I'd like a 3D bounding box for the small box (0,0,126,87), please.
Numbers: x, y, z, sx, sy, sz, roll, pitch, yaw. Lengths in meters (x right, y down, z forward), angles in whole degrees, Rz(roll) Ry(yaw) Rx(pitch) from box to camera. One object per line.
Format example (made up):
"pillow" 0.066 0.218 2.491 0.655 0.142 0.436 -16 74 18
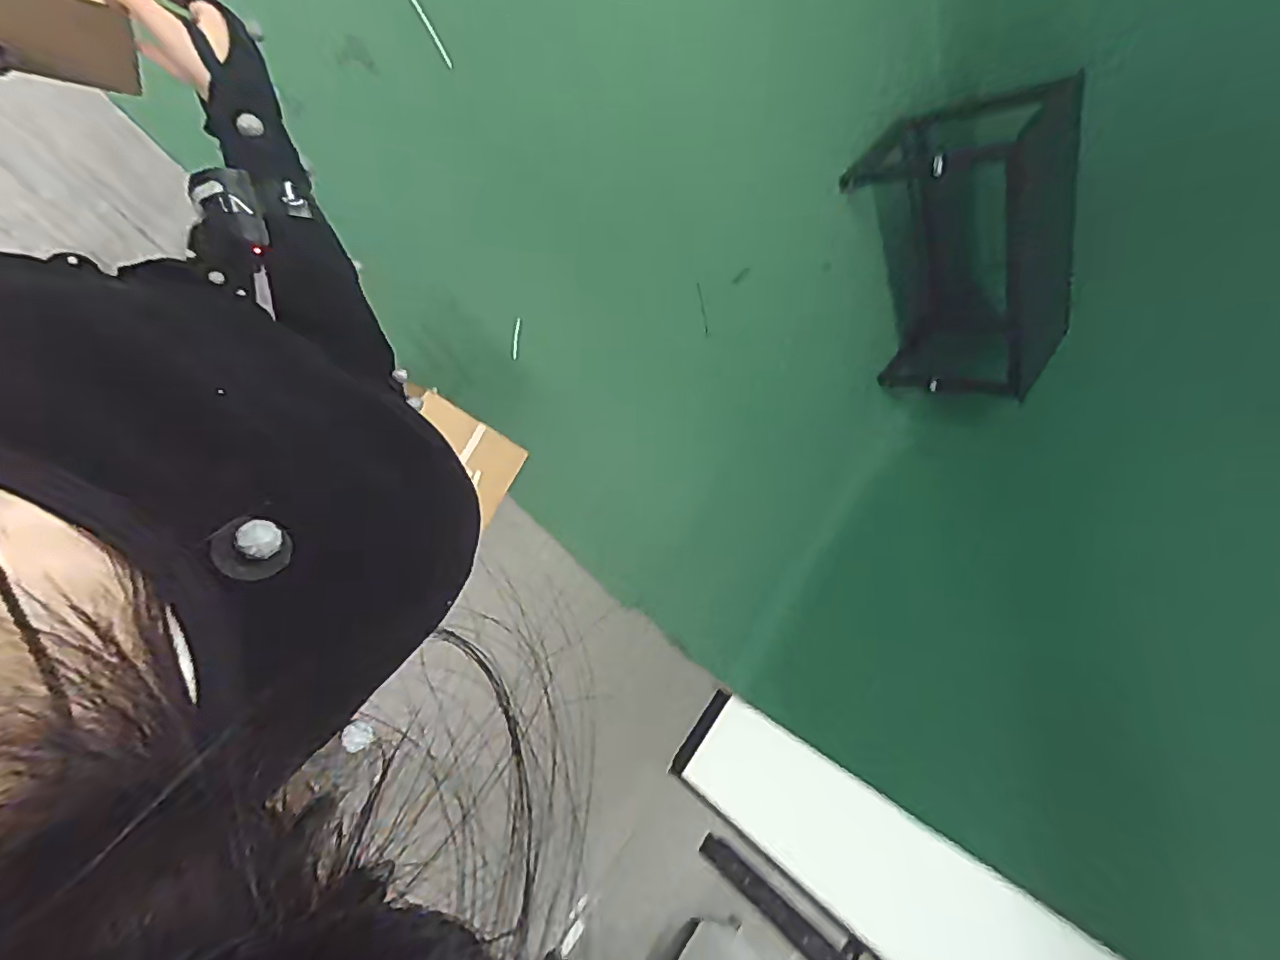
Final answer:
"small box" -0.480 -0.402 0.364 0.179 0.176 0.168 -12 106 -39

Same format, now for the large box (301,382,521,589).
"large box" -0.587 0.008 1.386 0.320 0.320 0.408 37 77 -43
